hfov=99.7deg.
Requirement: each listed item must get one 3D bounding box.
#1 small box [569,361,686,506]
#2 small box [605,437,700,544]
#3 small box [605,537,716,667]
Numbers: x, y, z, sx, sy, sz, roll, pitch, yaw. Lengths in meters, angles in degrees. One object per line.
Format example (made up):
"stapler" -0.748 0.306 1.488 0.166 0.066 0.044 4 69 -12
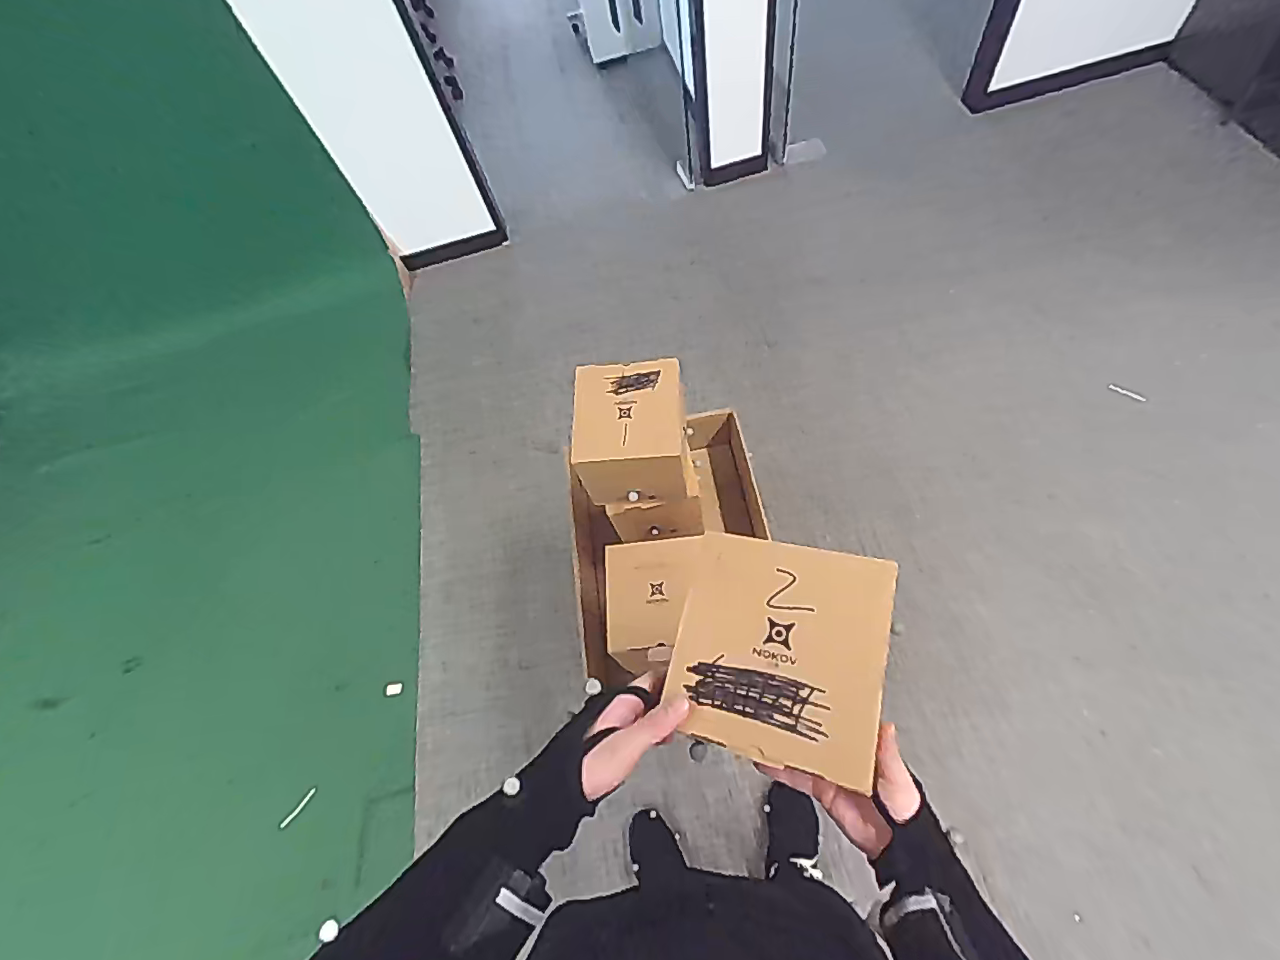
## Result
"small box" -0.012 -0.072 0.893 0.168 0.176 0.179 -4 64 8
"small box" 0.018 0.004 1.036 0.168 0.176 0.179 -12 63 3
"small box" 0.037 0.214 0.916 0.168 0.176 0.179 -6 60 6
